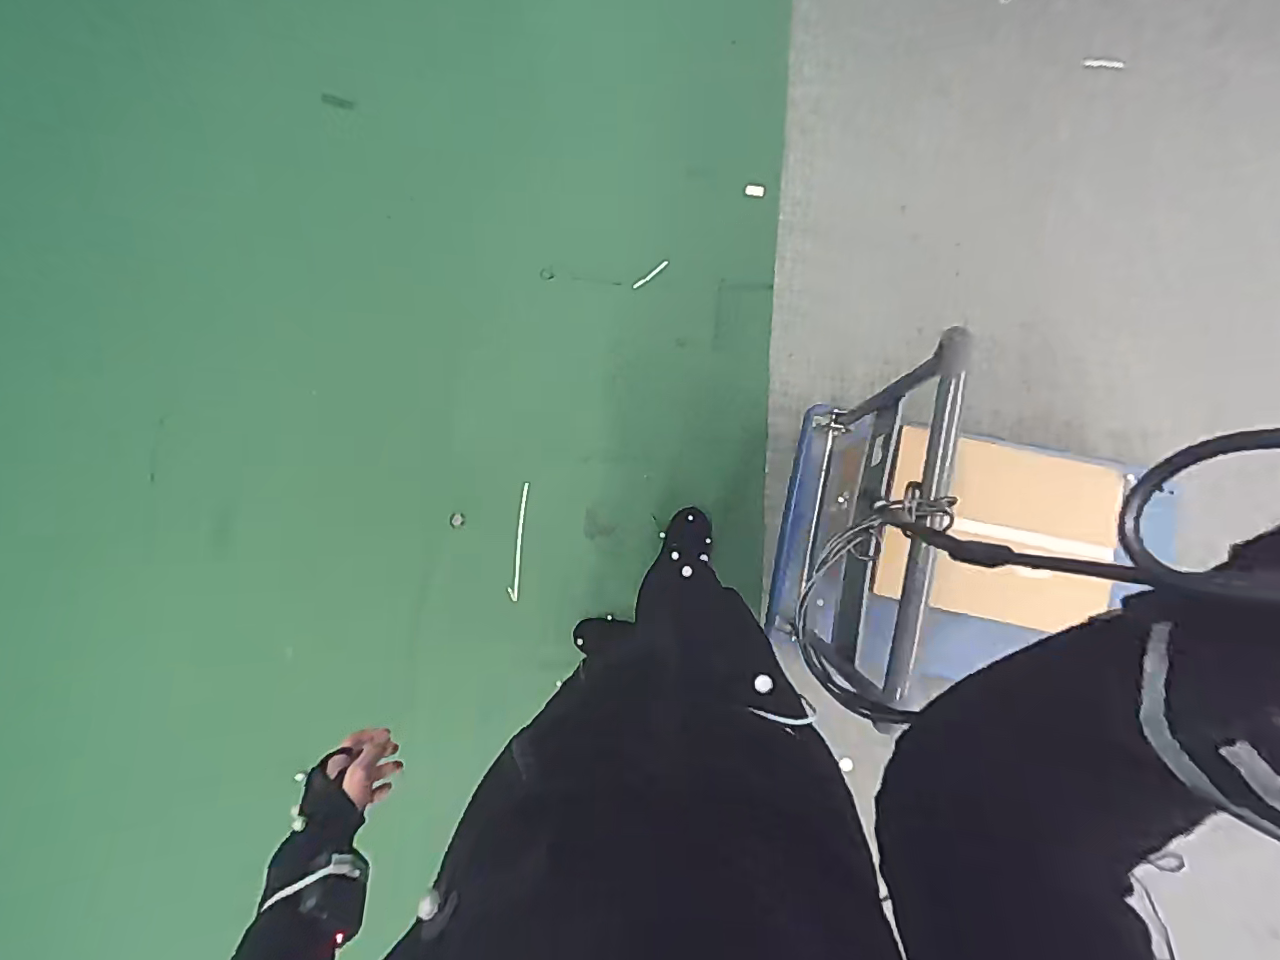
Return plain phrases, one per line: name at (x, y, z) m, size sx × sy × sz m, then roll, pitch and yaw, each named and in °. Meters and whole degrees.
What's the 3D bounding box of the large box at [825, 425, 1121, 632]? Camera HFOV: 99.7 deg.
large box at (0.645, 0.096, 1.116) m, size 0.408 × 0.320 × 0.320 m, roll 12°, pitch 87°, yaw 2°
